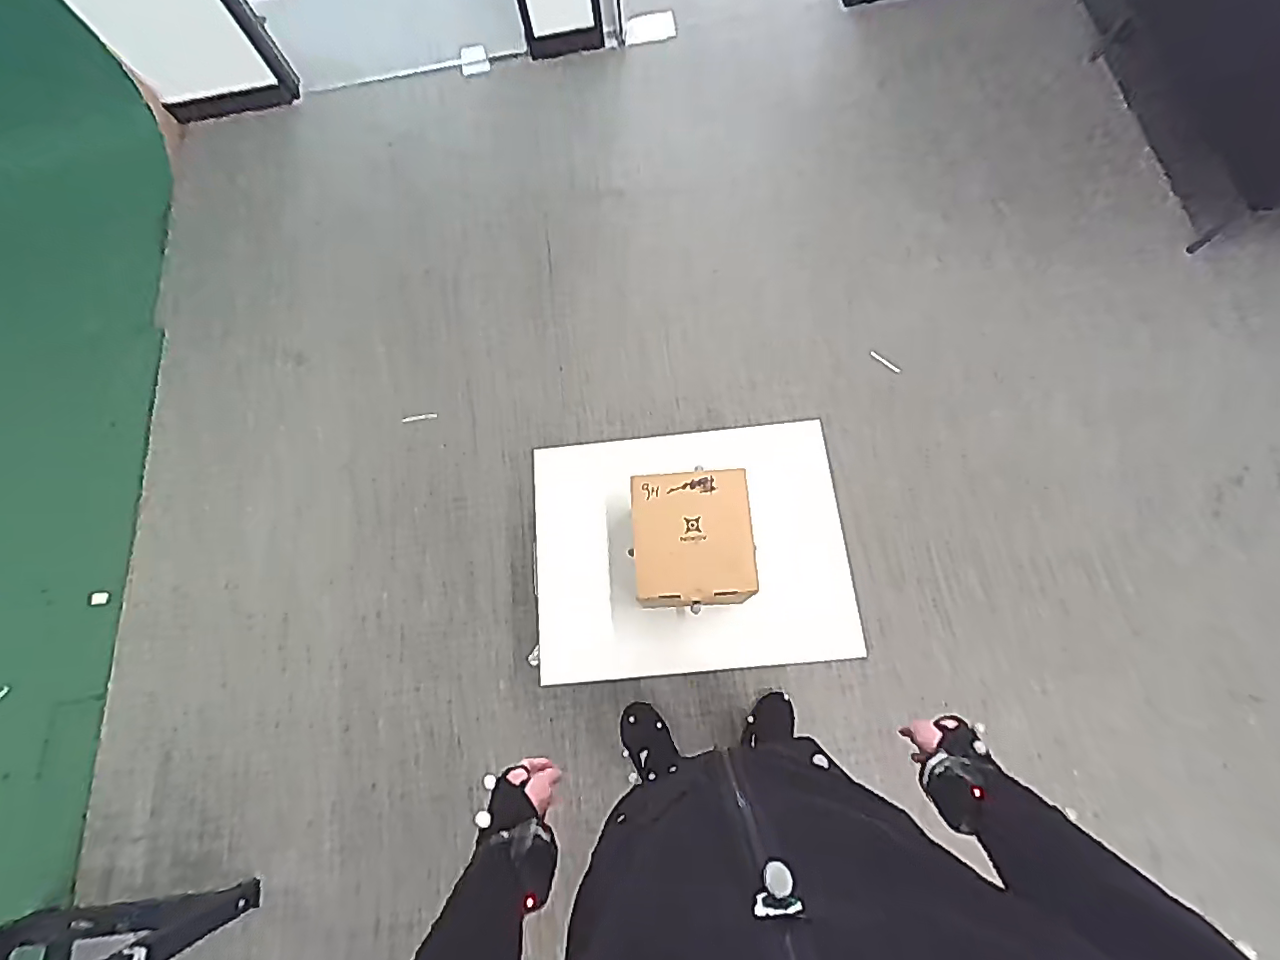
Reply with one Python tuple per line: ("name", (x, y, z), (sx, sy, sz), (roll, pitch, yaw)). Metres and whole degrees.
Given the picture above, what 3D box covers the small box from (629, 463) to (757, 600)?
("small box", (0.078, 0.088, 0.823), (0.168, 0.176, 0.179), (-6, 73, 2))
